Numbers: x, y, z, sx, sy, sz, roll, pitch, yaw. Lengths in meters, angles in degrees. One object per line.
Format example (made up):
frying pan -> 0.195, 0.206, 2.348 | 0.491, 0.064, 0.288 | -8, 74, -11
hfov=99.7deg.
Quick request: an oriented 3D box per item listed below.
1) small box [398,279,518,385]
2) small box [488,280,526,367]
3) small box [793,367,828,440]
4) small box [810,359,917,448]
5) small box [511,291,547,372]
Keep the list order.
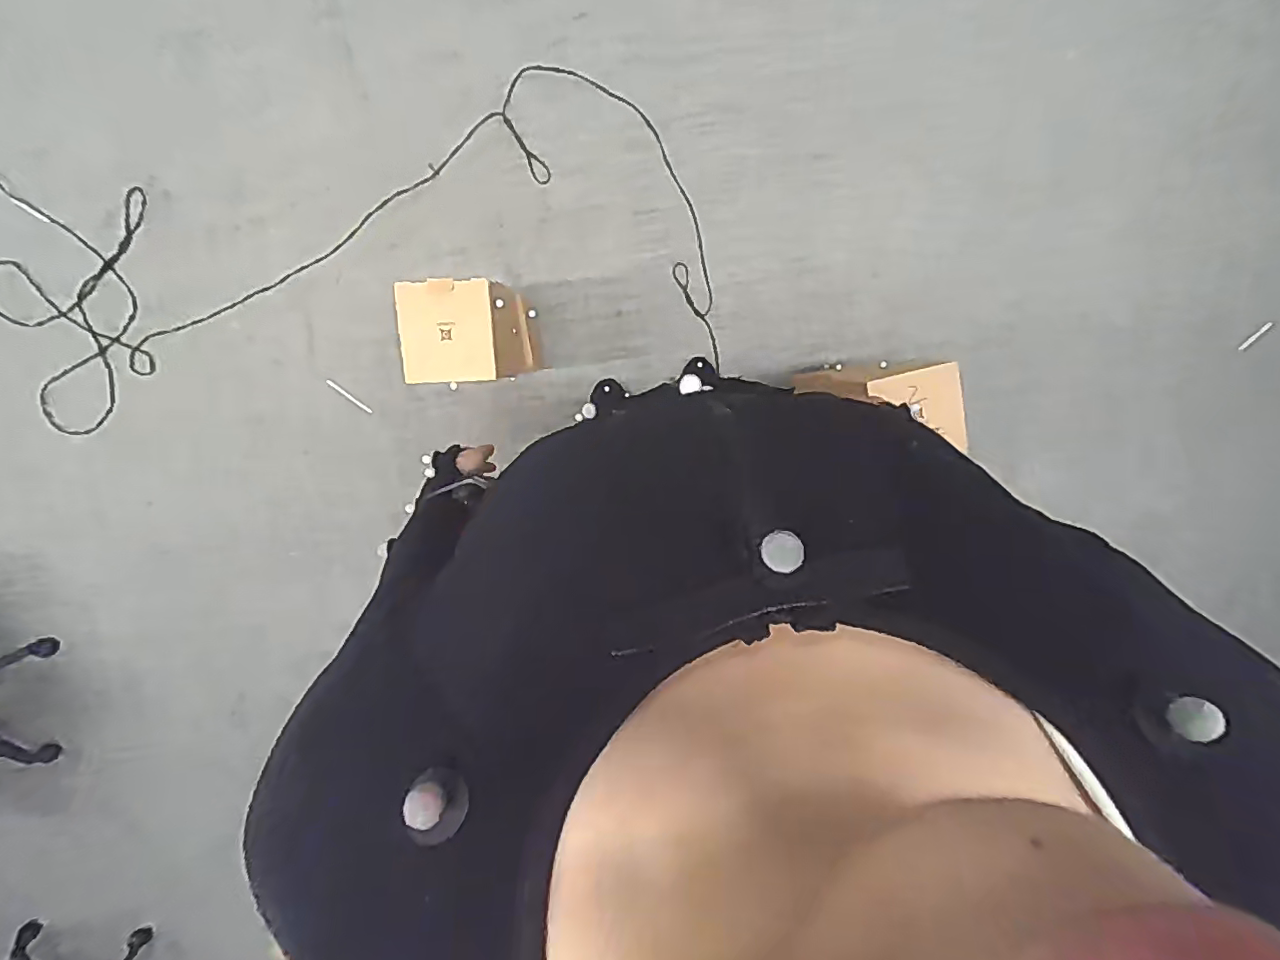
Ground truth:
small box -> -0.335, -0.277, 1.030 | 0.168, 0.176, 0.179 | -3, 101, 1
small box -> -0.356, -0.328, 1.185 | 0.168, 0.176, 0.179 | -7, 101, 1
small box -> 0.498, -0.202, 1.385 | 0.179, 0.176, 0.168 | -7, 103, 2
small box -> 0.496, -0.176, 1.224 | 0.179, 0.176, 0.168 | -11, 104, 1
small box -> -0.338, -0.359, 1.346 | 0.168, 0.176, 0.179 | -8, 102, 2
